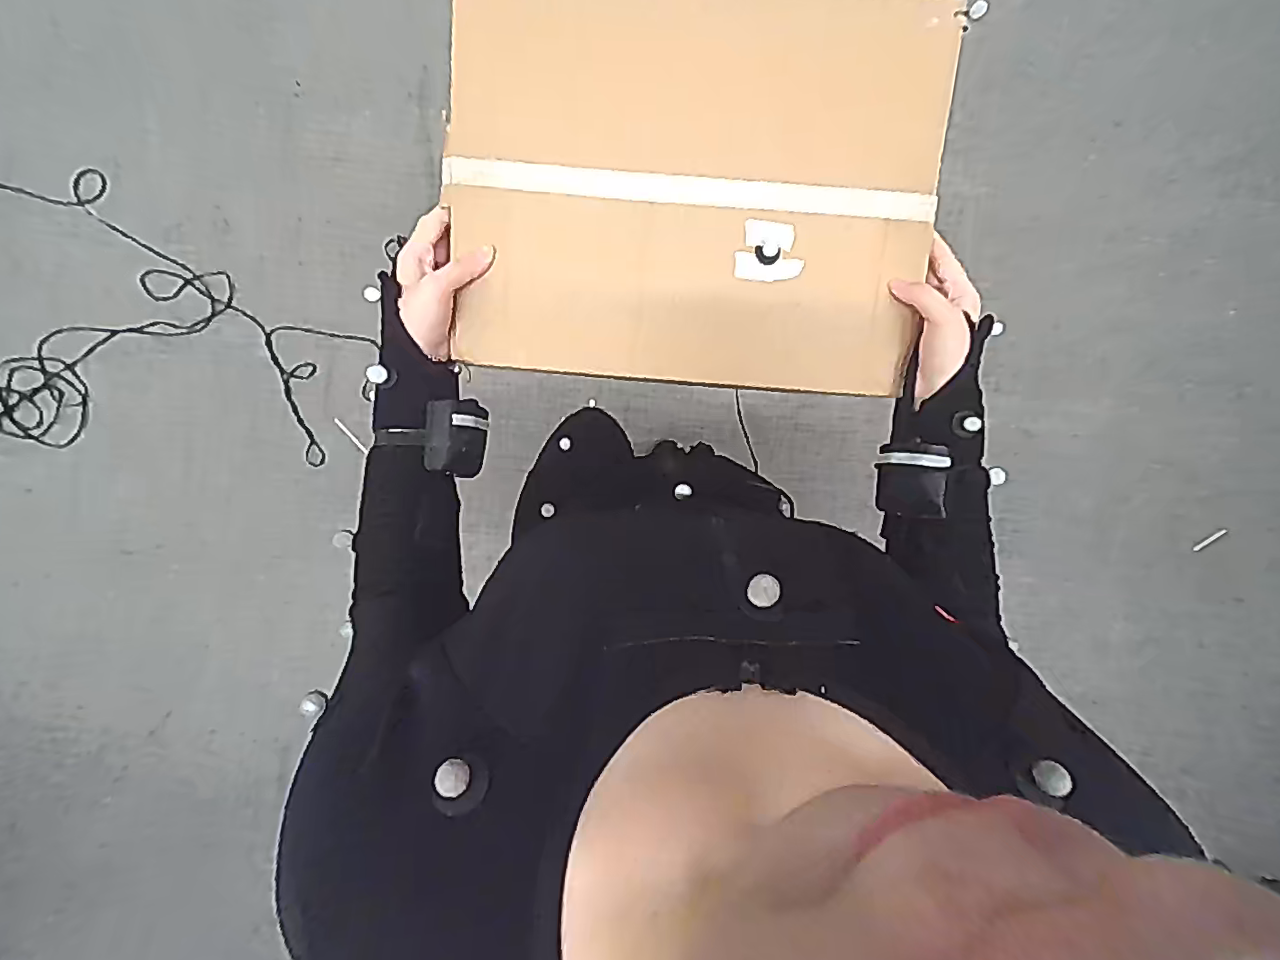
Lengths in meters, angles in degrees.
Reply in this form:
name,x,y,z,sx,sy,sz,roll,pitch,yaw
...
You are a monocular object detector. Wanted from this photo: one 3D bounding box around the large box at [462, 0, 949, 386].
name,x,y,z,sx,sy,sz,roll,pitch,yaw
large box,0.043,-0.272,0.607,0.408,0.320,0.320,4,101,-2
